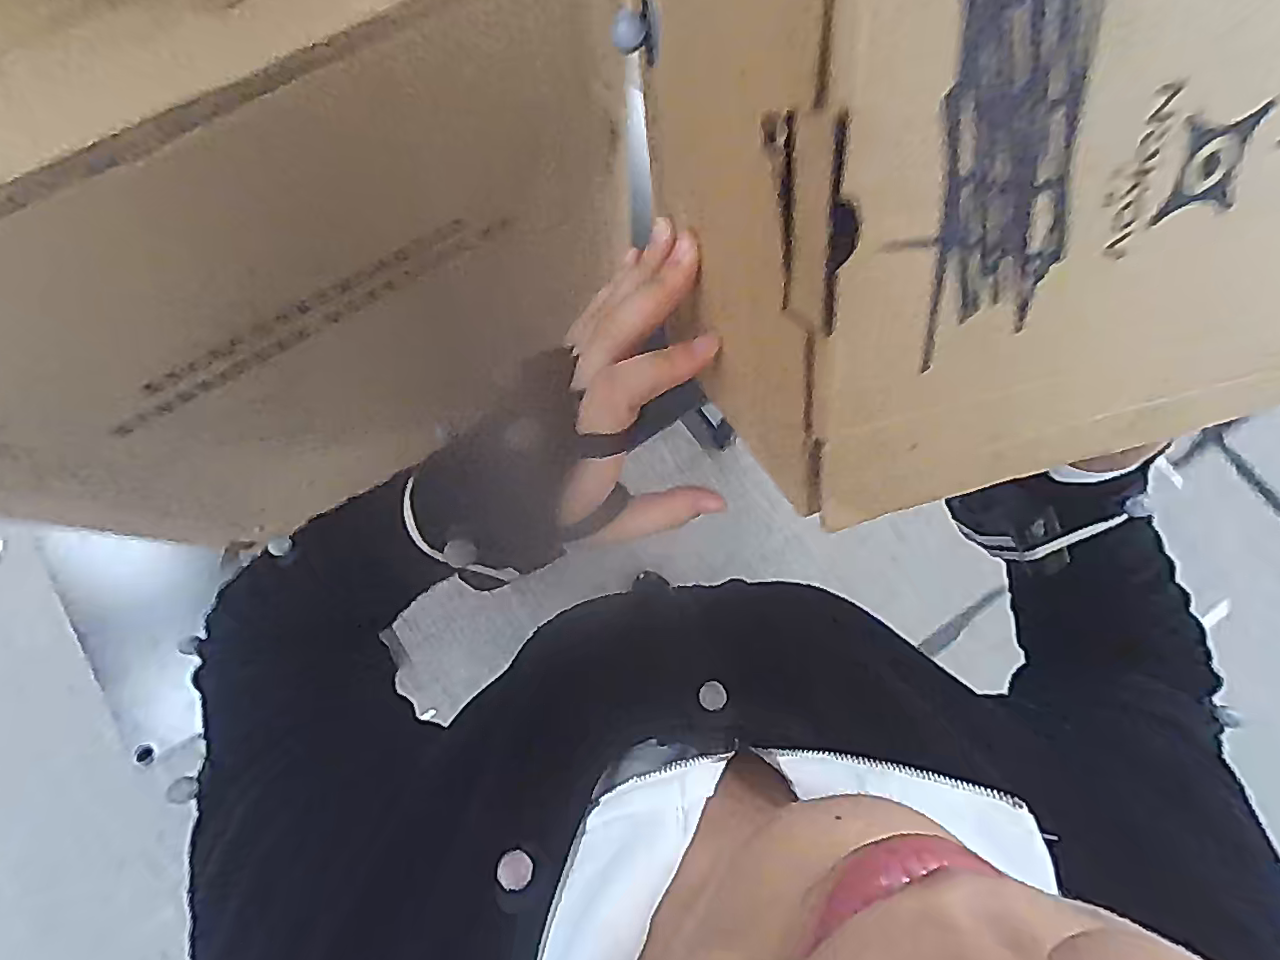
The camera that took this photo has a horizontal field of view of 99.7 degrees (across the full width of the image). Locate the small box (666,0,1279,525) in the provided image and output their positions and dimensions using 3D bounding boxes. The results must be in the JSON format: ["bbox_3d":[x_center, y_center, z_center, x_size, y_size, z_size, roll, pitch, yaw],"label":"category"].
[{"bbox_3d":[0.111,-0.112,0.188,0.179,0.168,0.176,-12,35,-6],"label":"small box"}]
